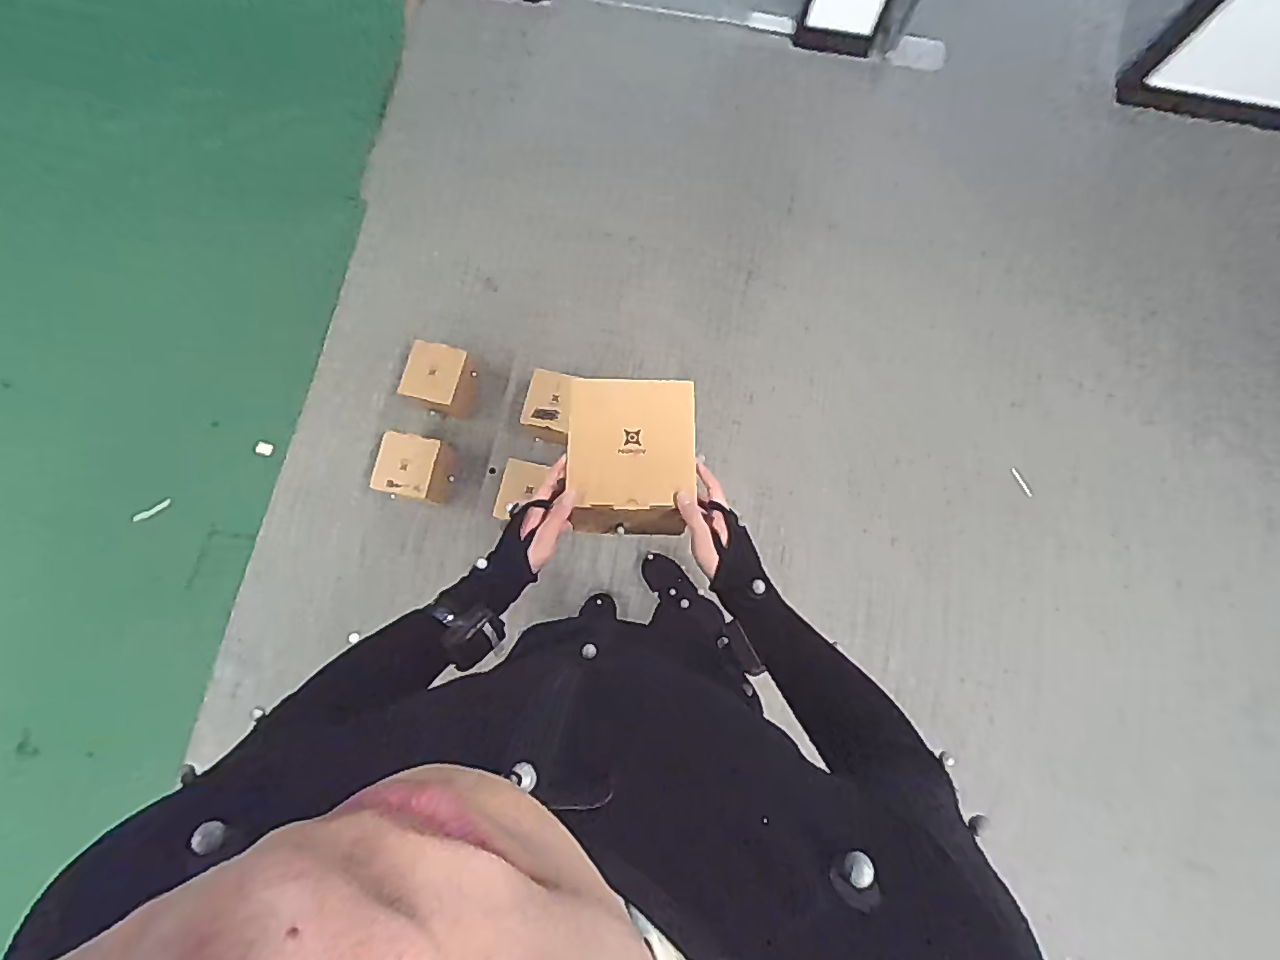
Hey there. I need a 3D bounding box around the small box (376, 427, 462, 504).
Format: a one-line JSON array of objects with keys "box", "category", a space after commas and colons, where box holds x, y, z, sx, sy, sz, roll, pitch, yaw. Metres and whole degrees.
[{"box": [-0.651, -0.038, 1.622, 0.168, 0.176, 0.179, 12, 79, 3], "category": "small box"}]

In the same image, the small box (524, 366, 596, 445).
[{"box": [-0.237, -0.220, 1.655, 0.168, 0.176, 0.179, 14, 80, 2], "category": "small box"}]

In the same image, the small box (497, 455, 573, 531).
[{"box": [-0.303, 0.045, 1.607, 0.168, 0.176, 0.179, 13, 80, 3], "category": "small box"}]
